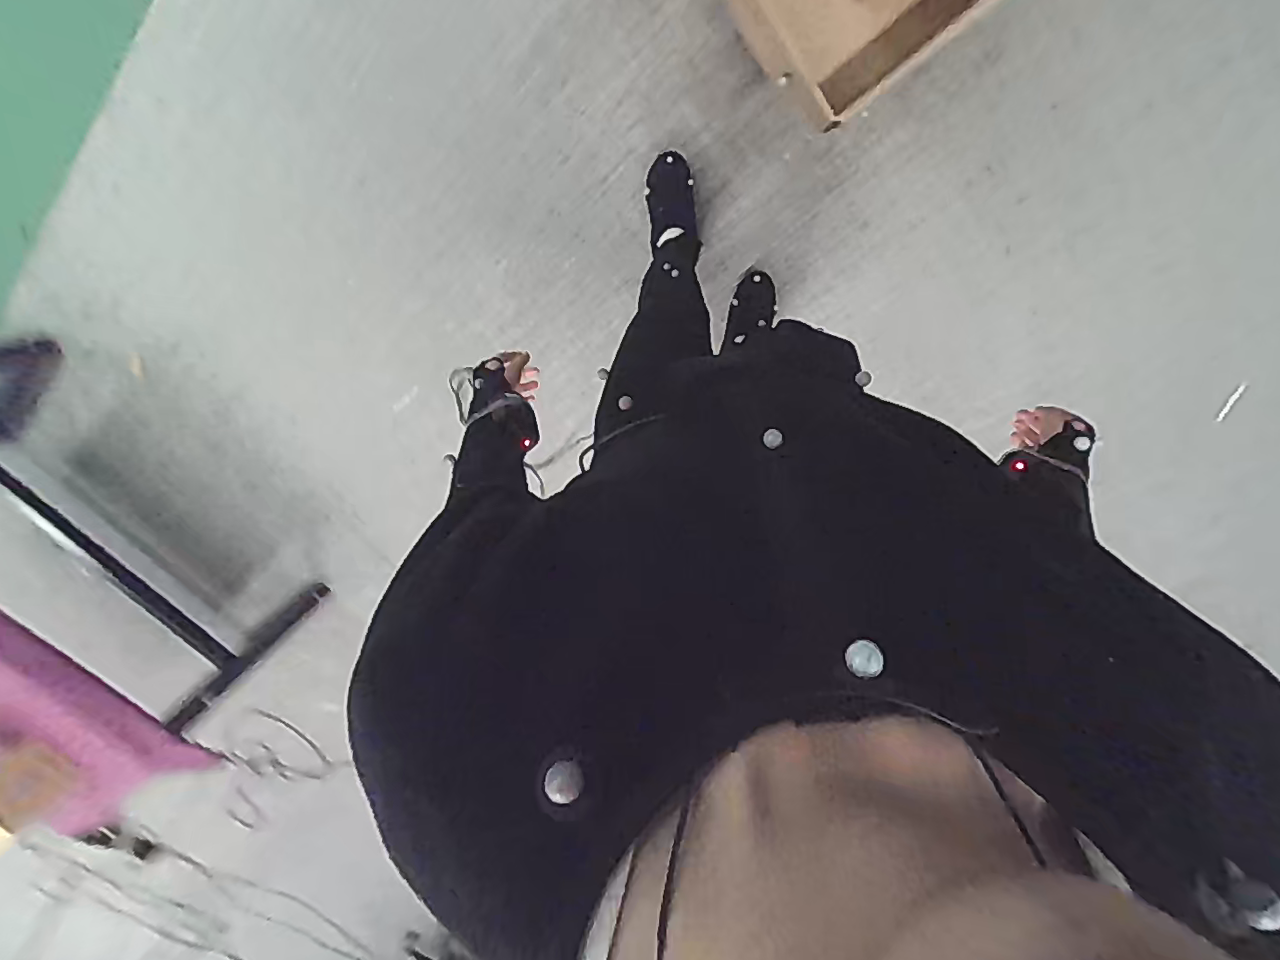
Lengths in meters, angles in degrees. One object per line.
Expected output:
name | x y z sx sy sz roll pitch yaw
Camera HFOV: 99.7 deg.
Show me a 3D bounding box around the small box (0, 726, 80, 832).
small box | -1.579 0.752 1.352 0.179 0.176 0.168 -31 107 21
